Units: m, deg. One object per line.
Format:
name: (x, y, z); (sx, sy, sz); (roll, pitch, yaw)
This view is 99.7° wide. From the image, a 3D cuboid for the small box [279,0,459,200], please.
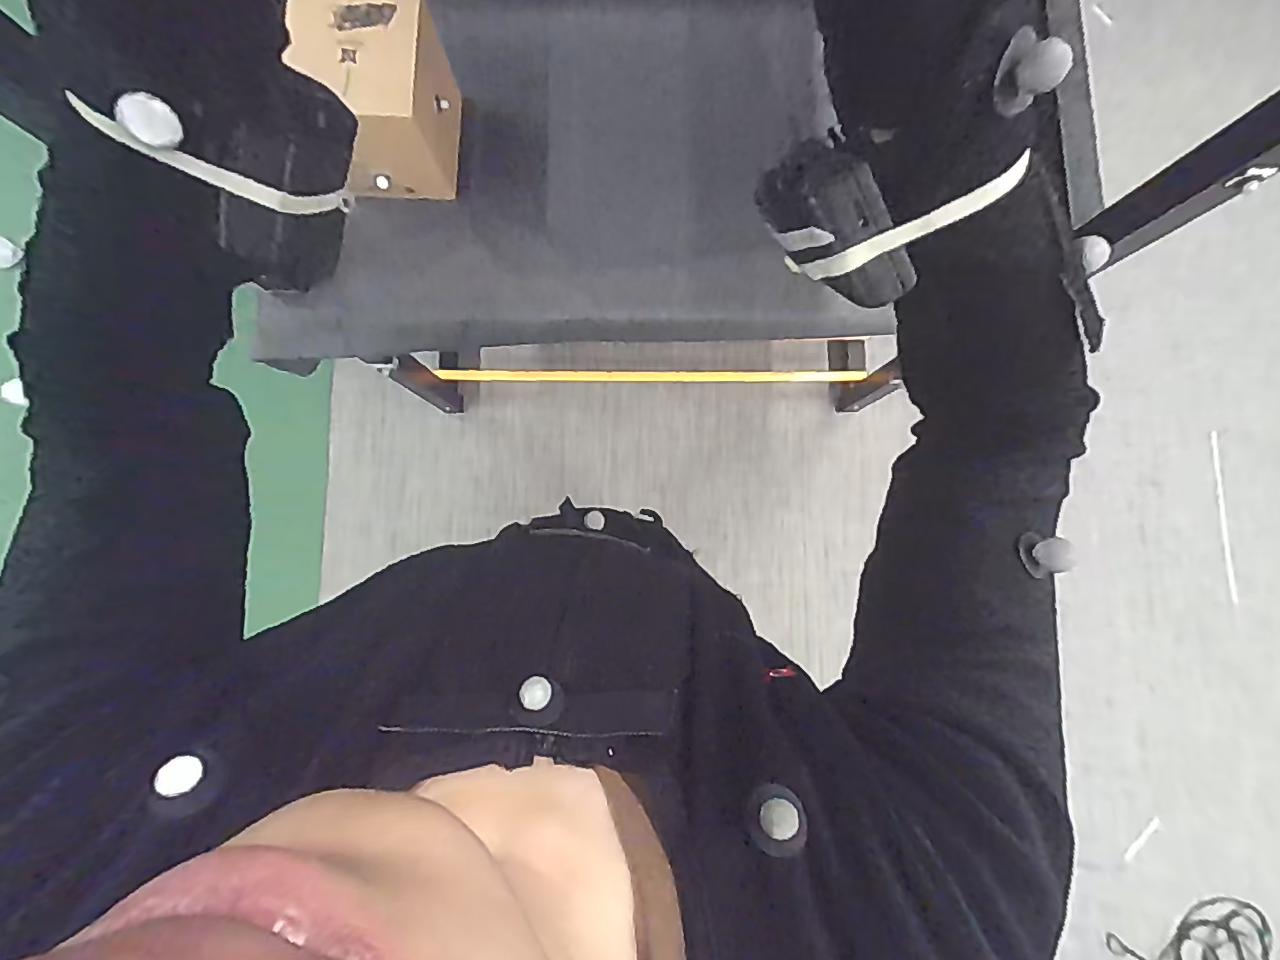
small box: (-0.358, -0.523, 0.748); (0.168, 0.176, 0.179); (1, 85, -1)
